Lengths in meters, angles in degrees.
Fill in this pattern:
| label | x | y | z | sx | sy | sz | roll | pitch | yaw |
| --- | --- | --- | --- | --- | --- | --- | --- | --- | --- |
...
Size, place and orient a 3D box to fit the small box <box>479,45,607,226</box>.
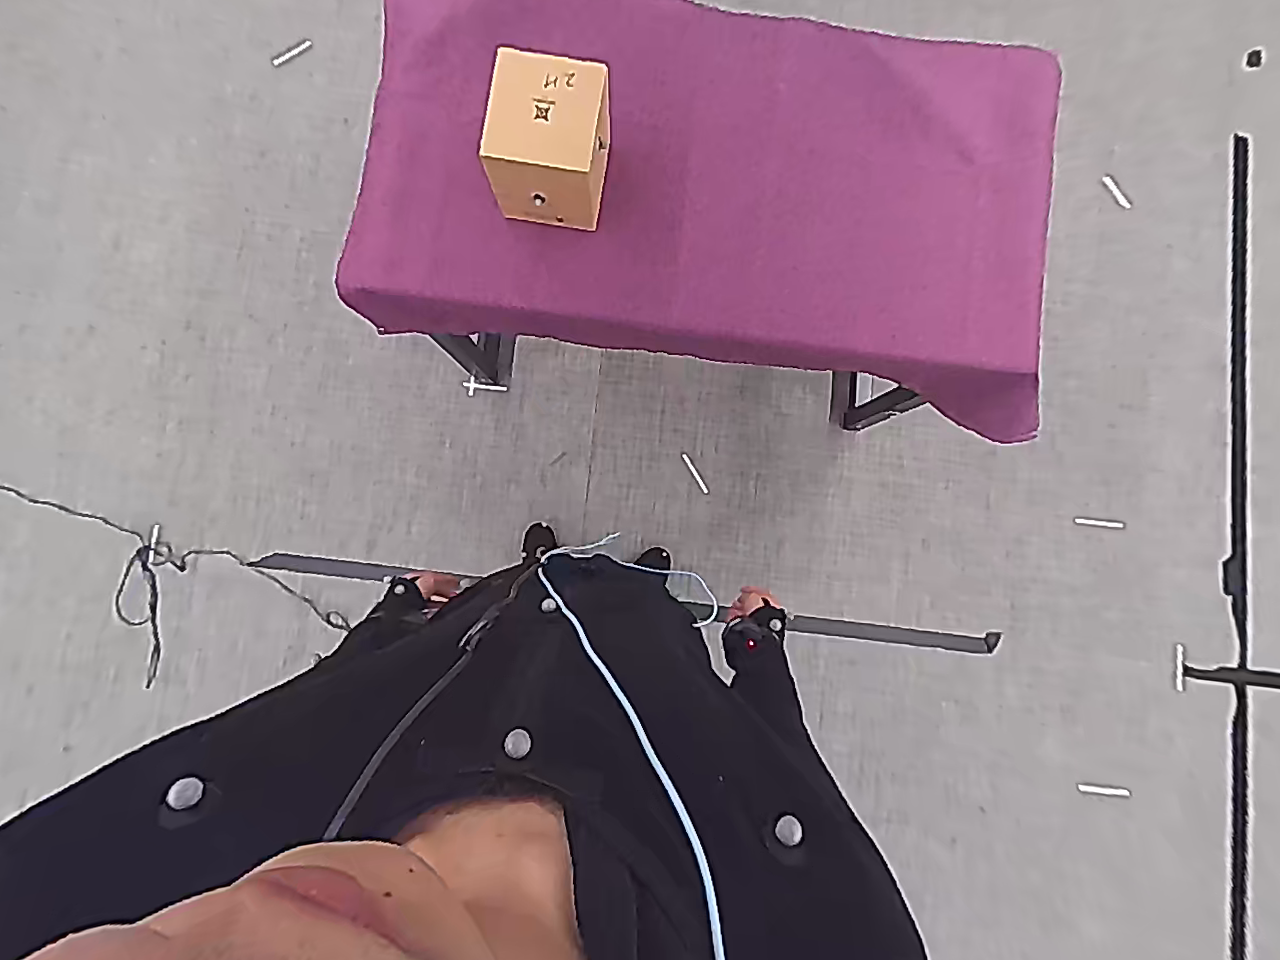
| label | x | y | z | sx | sy | sz | roll | pitch | yaw |
| --- | --- | --- | --- | --- | --- | --- | --- | --- | --- |
| small box | -0.147 | -0.545 | 0.880 | 0.168 | 0.176 | 0.179 | 9 | 86 | -2 |
